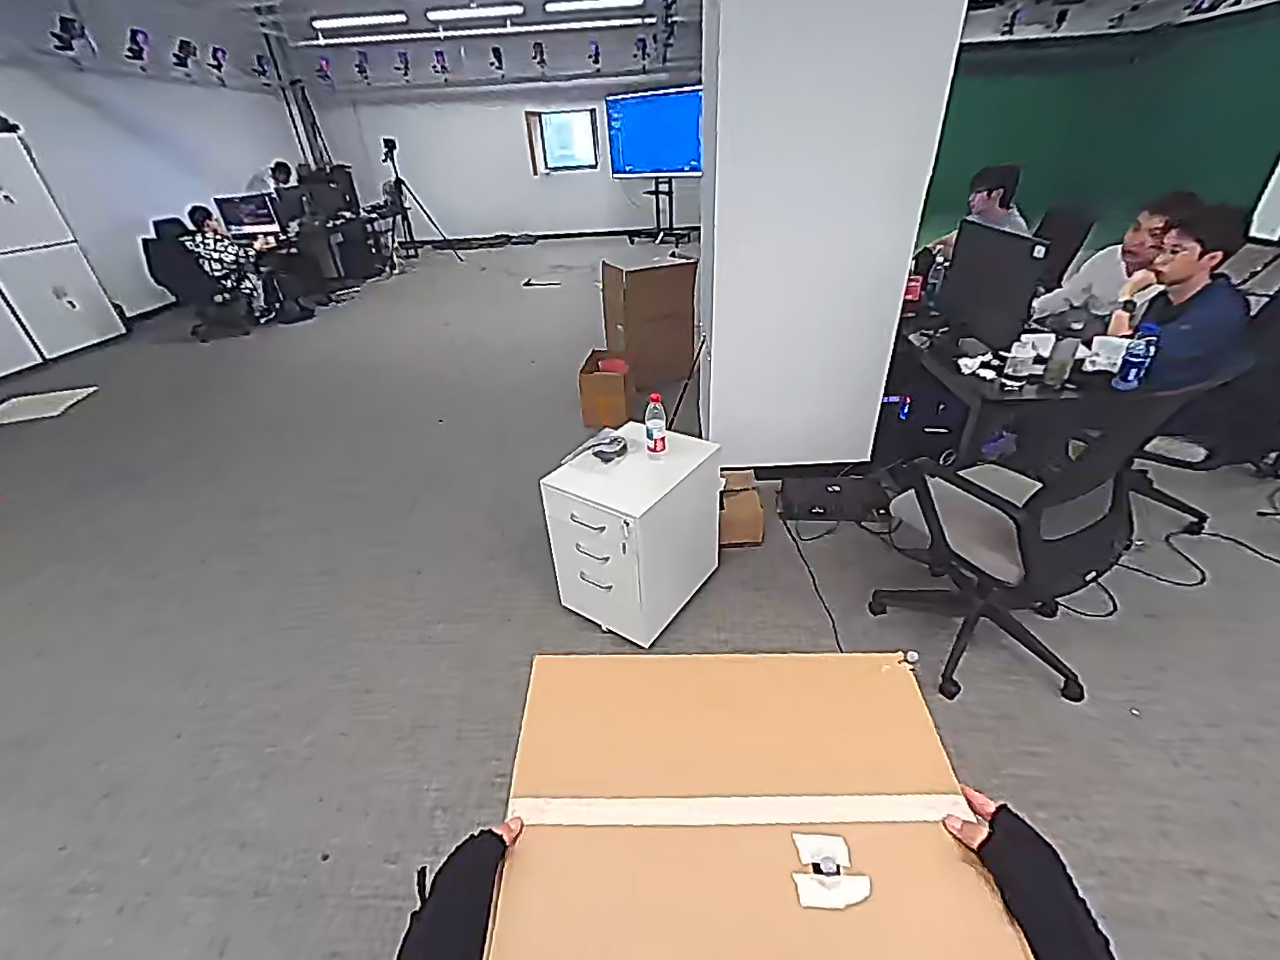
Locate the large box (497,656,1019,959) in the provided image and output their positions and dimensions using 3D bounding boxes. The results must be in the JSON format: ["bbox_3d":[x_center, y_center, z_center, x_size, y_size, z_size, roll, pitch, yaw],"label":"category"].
[{"bbox_3d":[0.089,0.412,0.583,0.408,0.320,0.320,0,41,1],"label":"large box"}]
